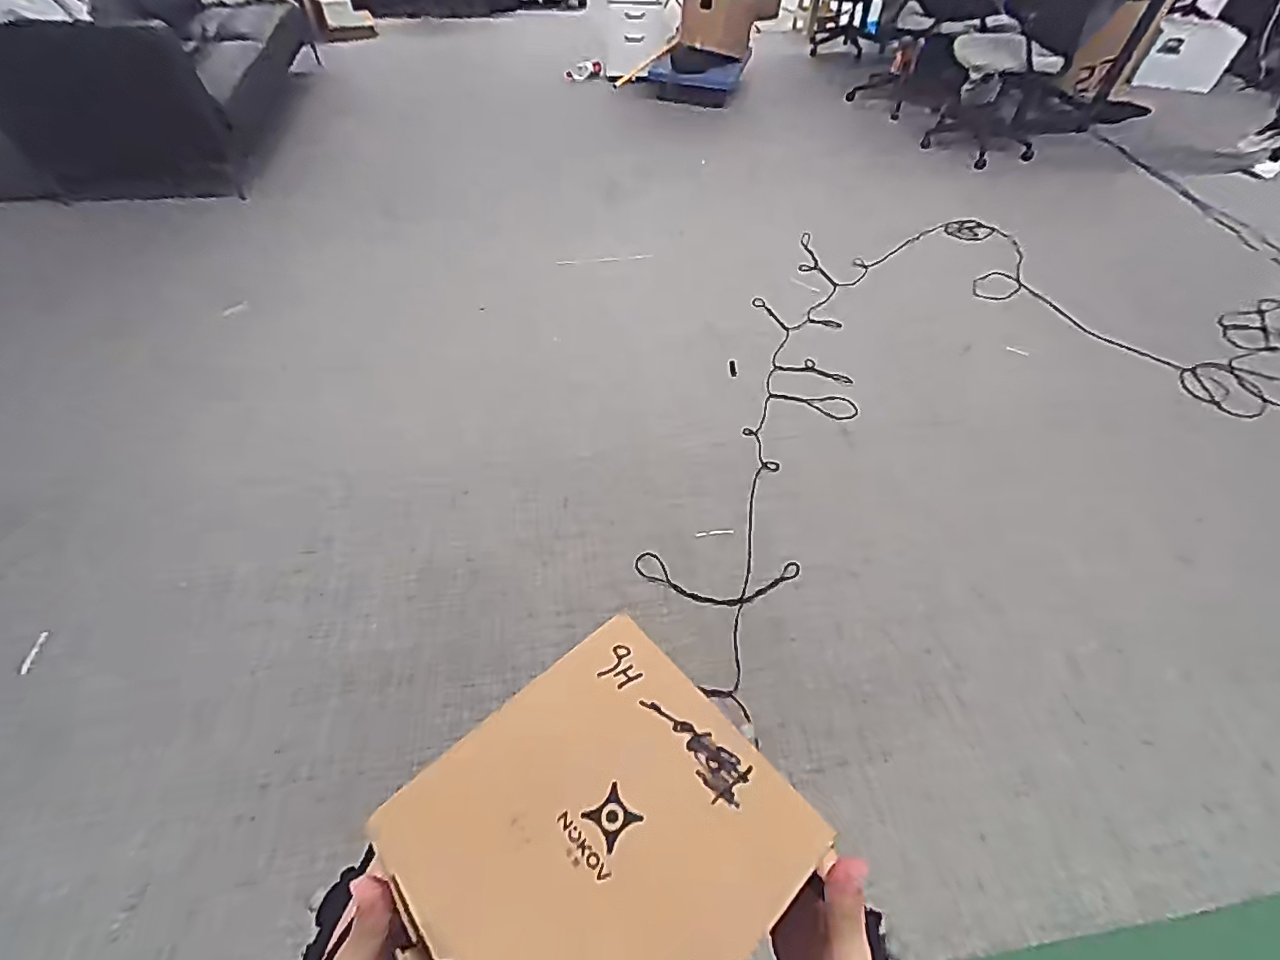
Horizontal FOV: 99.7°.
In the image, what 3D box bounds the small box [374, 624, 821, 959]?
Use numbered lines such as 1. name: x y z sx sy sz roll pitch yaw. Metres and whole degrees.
1. small box: -0.020 0.233 0.338 0.179 0.176 0.168 -36 58 -24
